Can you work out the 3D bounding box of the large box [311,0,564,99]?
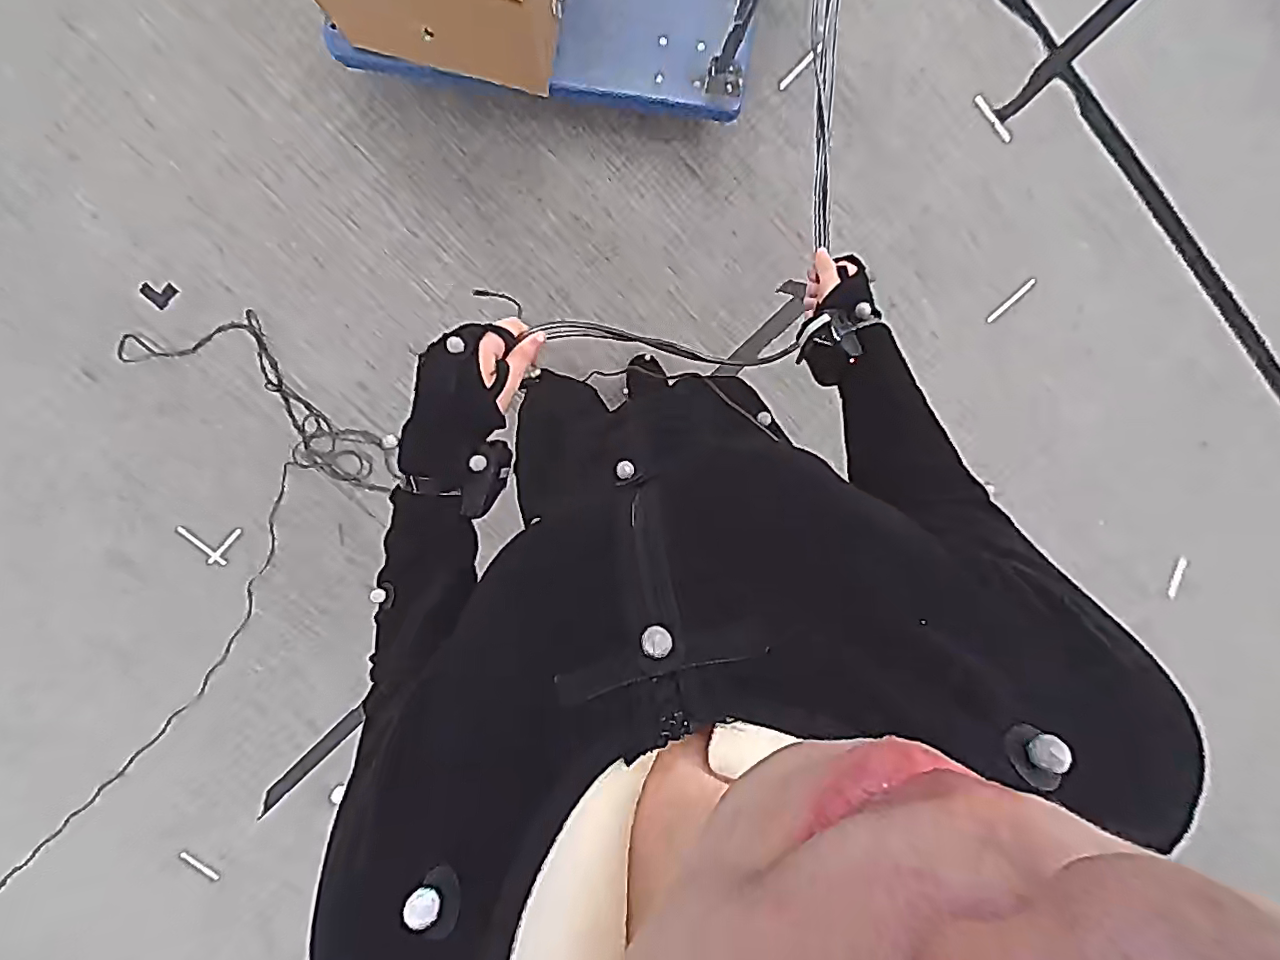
[{"bbox_3d":[-0.346,-0.939,0.940,0.408,0.320,0.320,11,100,-4],"label":"large box"}]
